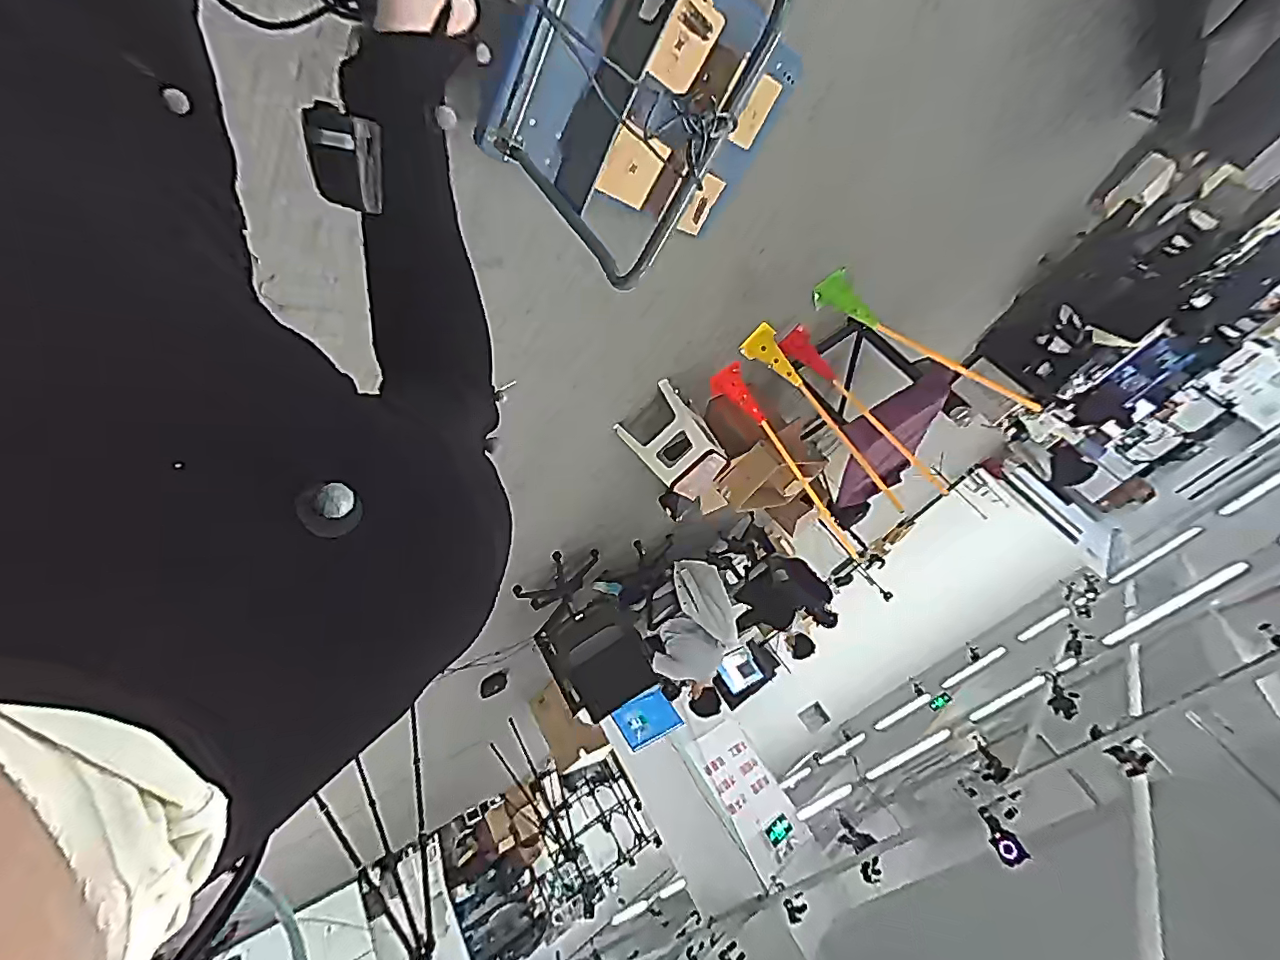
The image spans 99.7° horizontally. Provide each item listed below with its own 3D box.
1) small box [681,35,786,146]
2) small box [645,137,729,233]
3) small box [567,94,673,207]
[{"bbox_3d":[0.241,-1.030,1.430,0.179,0.176,0.168,-7,143,-43],"label":"small box"},{"bbox_3d":[0.115,-0.855,1.567,0.179,0.176,0.168,-5,140,-44],"label":"small box"},{"bbox_3d":[-0.055,-0.846,1.390,0.179,0.176,0.168,-2,138,-46],"label":"small box"}]
